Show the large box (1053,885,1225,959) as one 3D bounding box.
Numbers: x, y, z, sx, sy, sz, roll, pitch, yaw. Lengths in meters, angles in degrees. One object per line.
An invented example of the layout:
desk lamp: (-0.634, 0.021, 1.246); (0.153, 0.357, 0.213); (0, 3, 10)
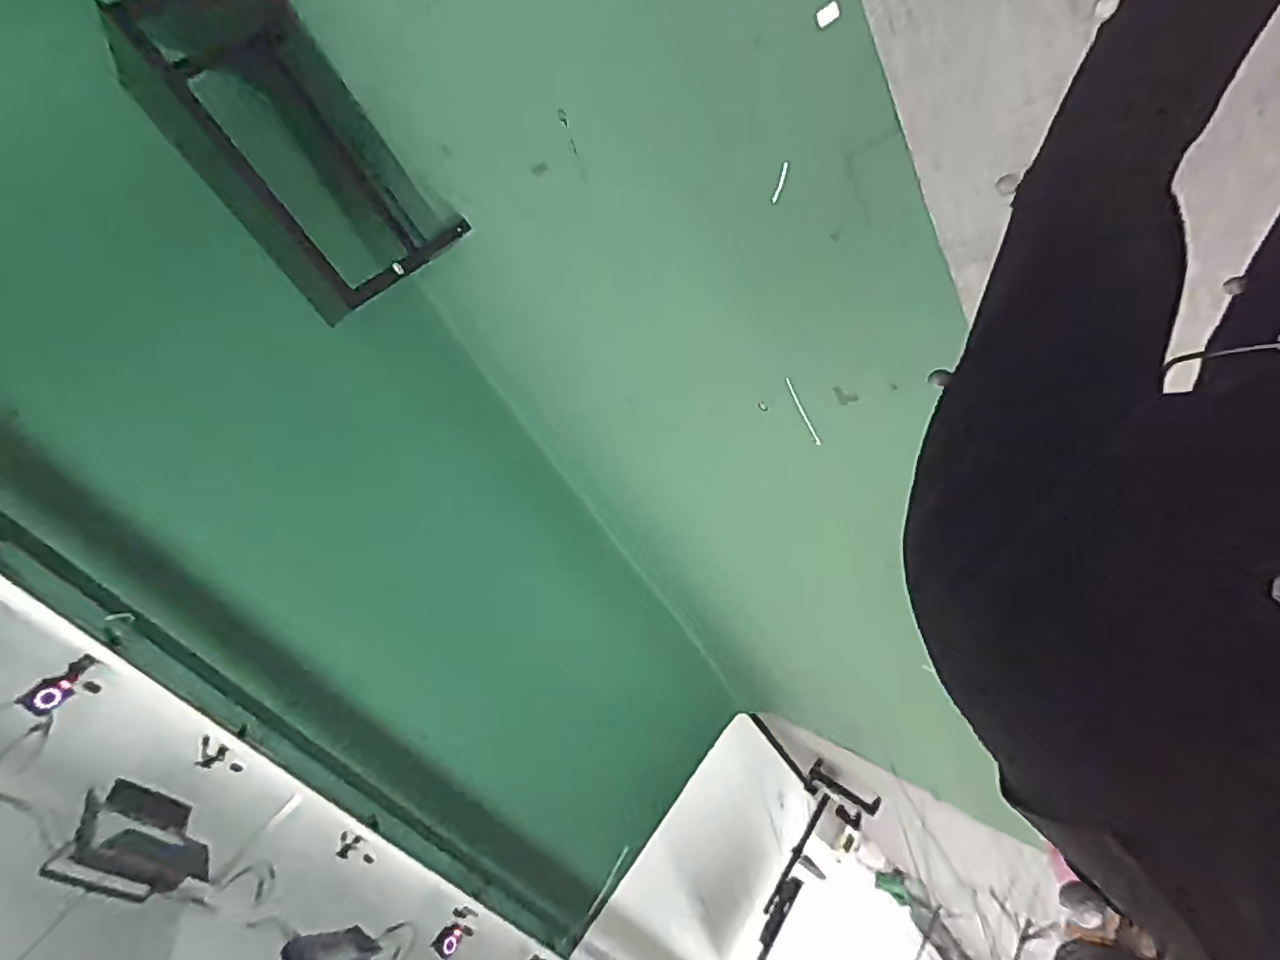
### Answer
large box: (1.347, 1.404, 1.438); (0.320, 0.320, 0.408); (2, 131, 54)
